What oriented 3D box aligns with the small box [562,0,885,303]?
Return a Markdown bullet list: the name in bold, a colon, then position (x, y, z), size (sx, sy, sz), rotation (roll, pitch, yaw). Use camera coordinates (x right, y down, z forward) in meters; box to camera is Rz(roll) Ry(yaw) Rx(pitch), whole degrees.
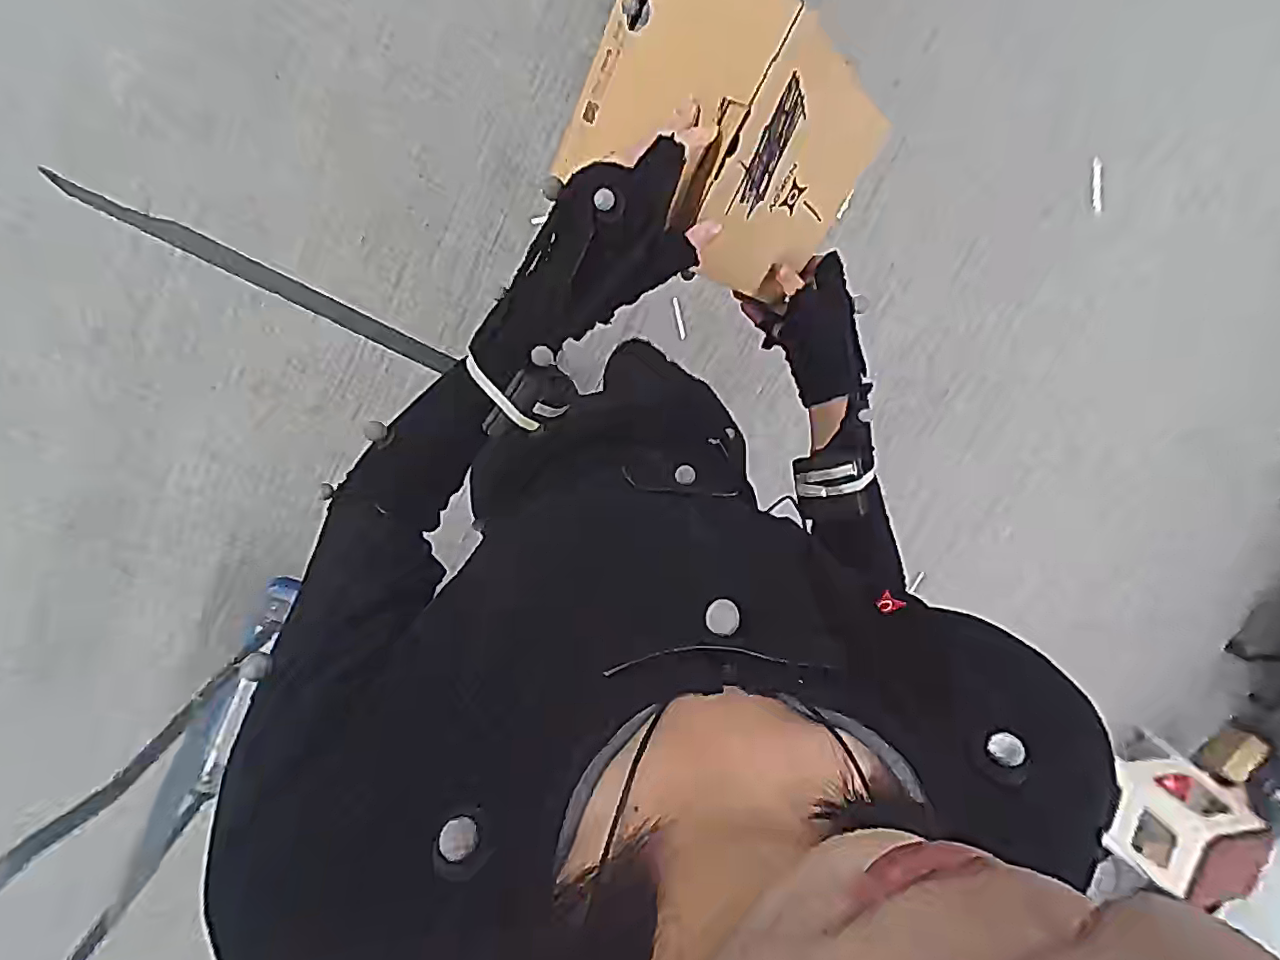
- **small box**: position (0.064, -0.279, 0.458), size (0.179, 0.176, 0.168), rotation (-4, 132, -51)
